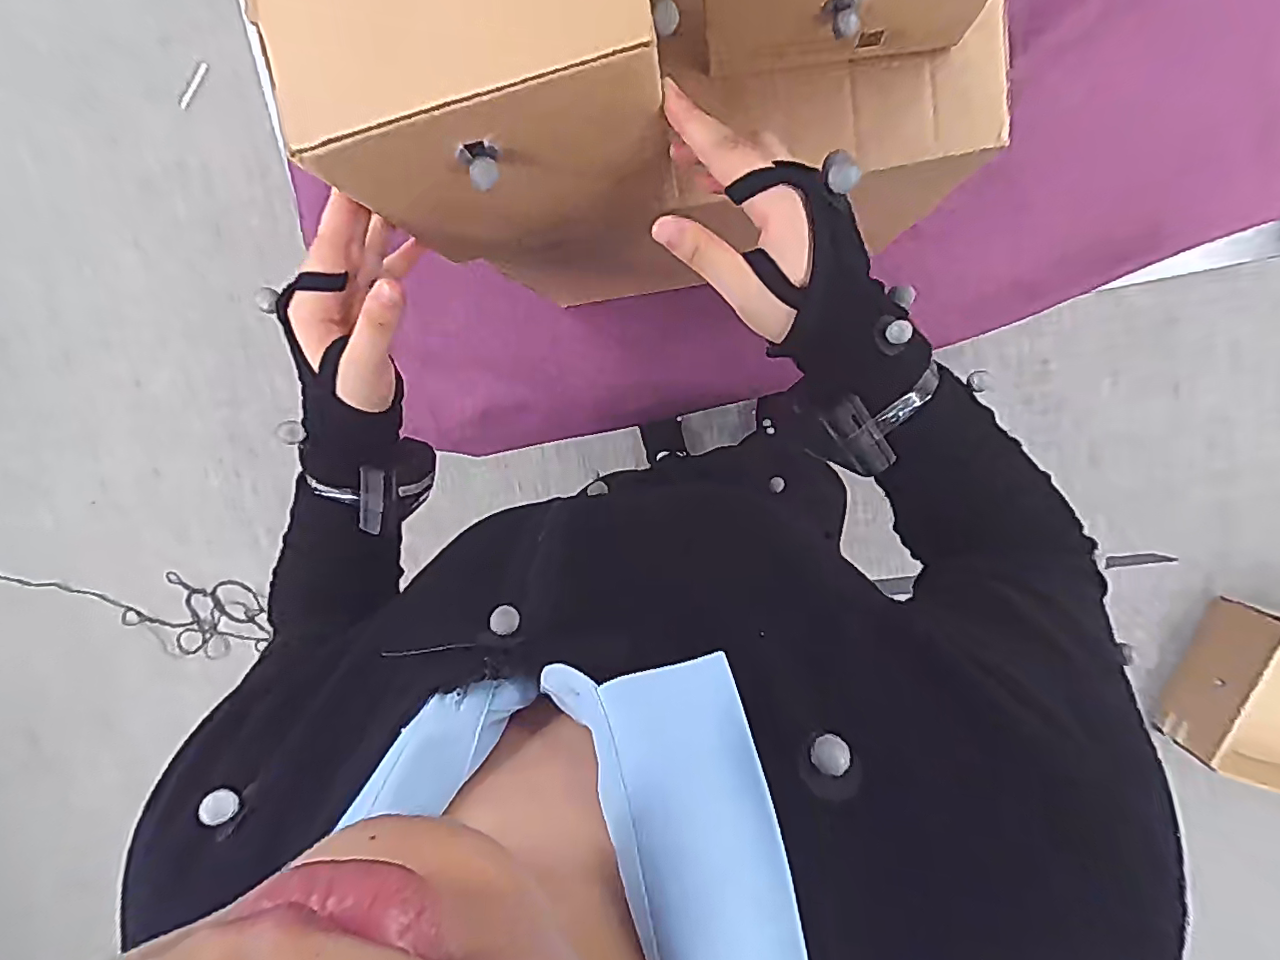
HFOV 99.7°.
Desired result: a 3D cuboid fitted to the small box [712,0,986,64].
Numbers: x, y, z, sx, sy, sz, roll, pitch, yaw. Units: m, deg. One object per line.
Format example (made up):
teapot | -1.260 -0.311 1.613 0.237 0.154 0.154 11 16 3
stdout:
small box | 0.115 -0.356 0.265 0.168 0.176 0.179 -1 98 9
